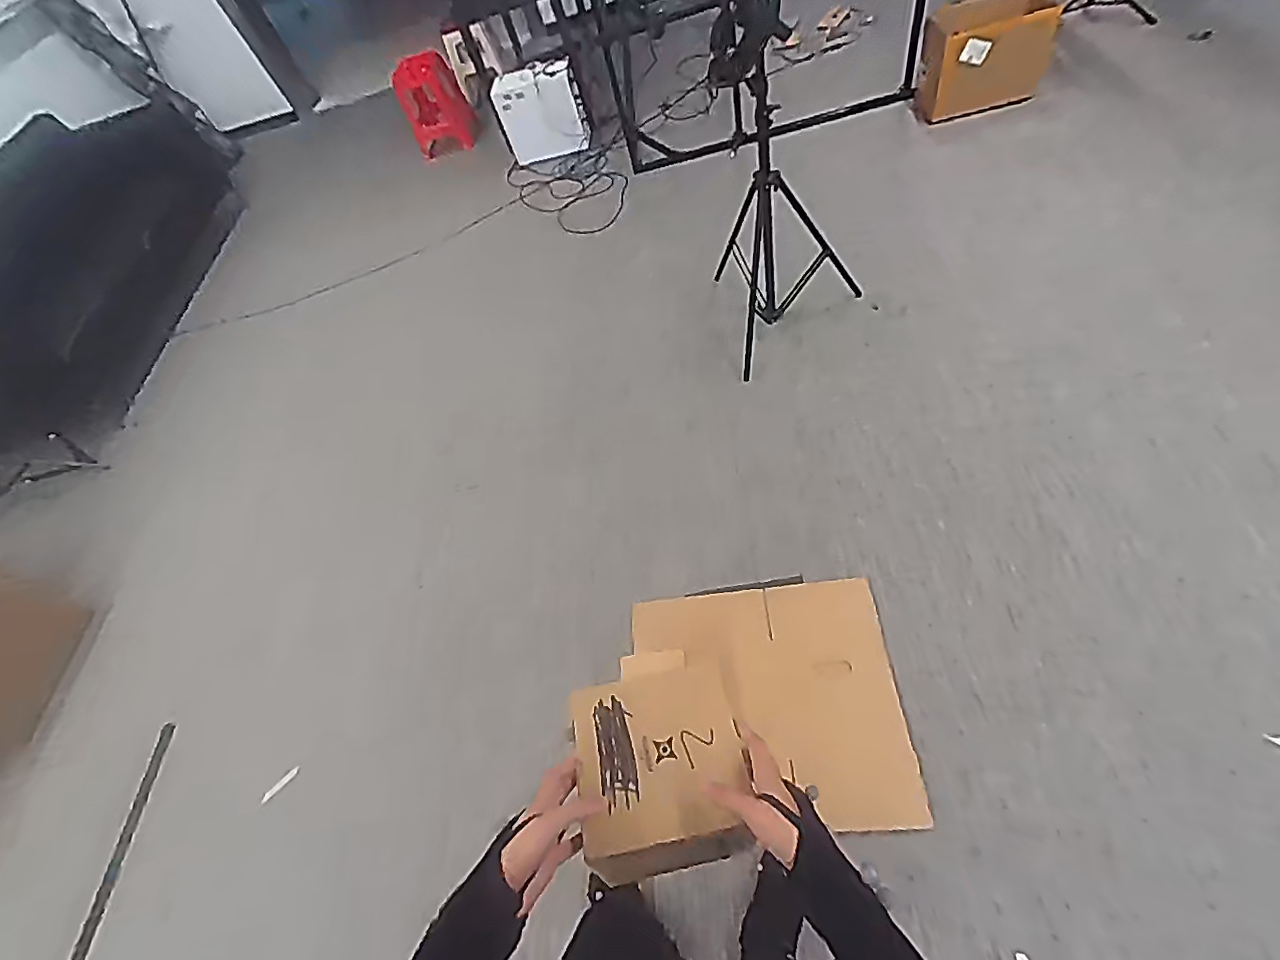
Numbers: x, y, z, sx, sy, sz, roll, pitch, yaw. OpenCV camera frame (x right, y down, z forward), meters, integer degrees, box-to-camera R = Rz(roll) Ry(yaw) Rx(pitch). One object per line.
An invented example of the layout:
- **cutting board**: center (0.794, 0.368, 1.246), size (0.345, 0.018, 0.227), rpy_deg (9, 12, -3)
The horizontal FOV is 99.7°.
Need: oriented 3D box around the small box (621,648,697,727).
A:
- **small box**: center (0.053, 0.557, 1.444), size (0.179, 0.176, 0.168), rpy_deg (-9, 57, 12)
